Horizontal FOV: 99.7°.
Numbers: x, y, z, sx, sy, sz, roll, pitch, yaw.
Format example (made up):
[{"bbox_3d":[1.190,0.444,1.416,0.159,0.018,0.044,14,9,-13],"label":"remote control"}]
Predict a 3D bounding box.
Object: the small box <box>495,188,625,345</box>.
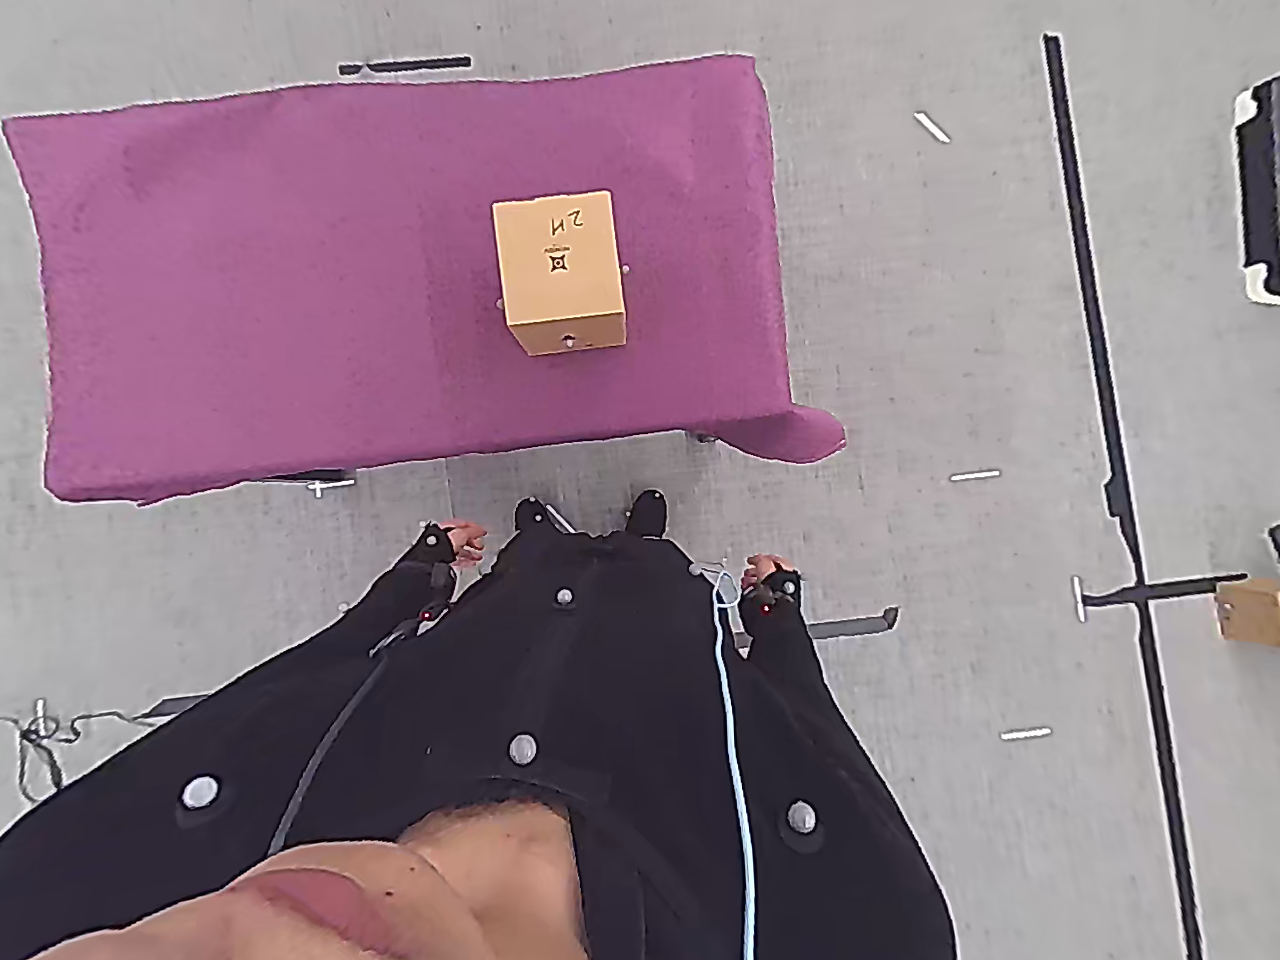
[{"bbox_3d":[-0.113,-0.314,0.832,0.168,0.176,0.179,-7,89,-2],"label":"small box"}]
